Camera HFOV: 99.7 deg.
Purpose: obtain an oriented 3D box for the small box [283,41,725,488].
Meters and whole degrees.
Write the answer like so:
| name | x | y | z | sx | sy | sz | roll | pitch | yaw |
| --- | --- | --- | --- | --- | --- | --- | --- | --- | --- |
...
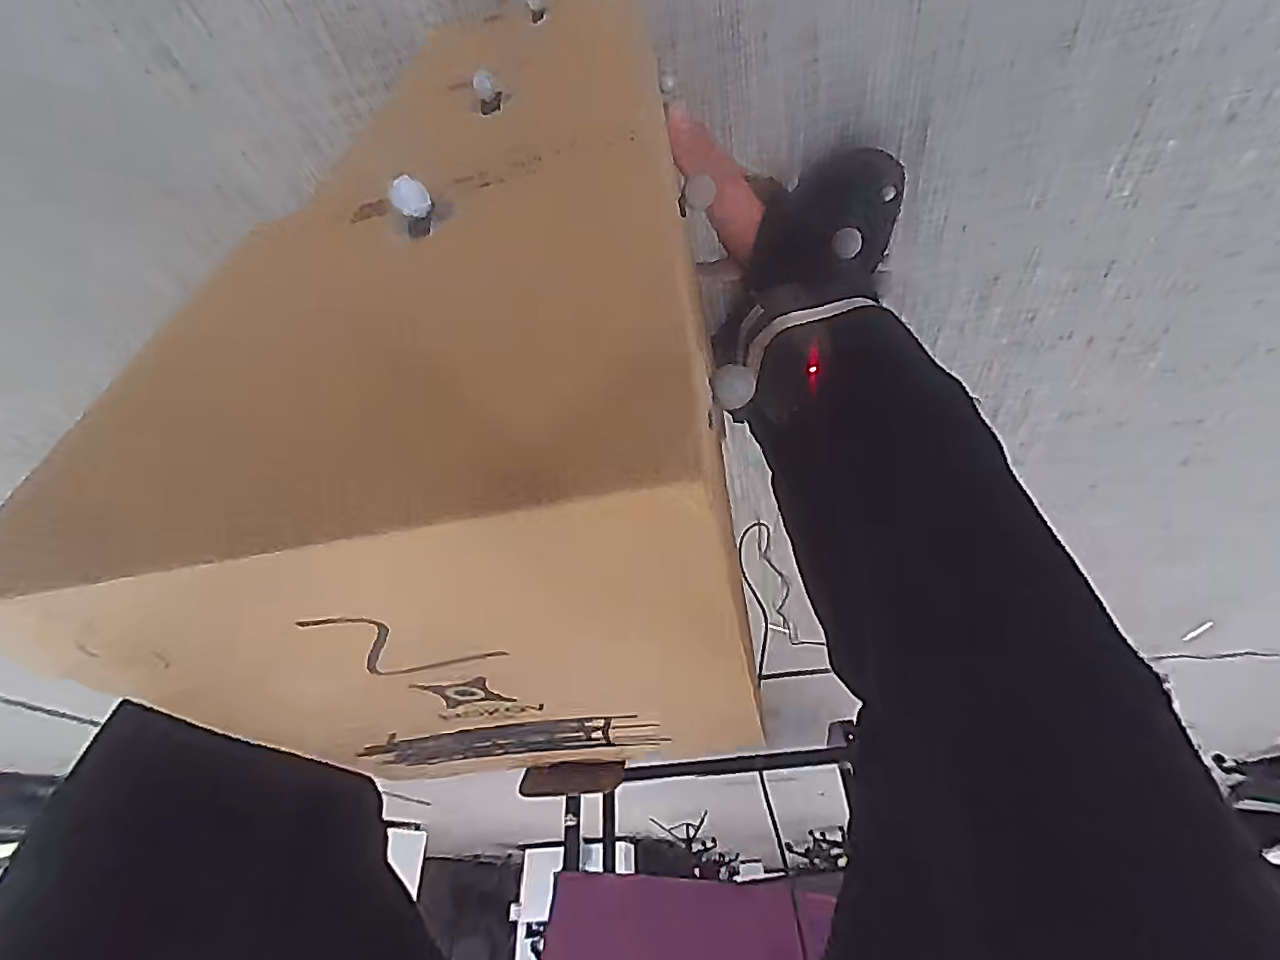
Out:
| name | x | y | z | sx | sy | sz | roll | pitch | yaw |
| --- | --- | --- | --- | --- | --- | --- | --- | --- | --- |
| small box | -0.052 | -0.124 | 0.321 | 0.168 | 0.176 | 0.179 | -11 | 141 | 11 |
